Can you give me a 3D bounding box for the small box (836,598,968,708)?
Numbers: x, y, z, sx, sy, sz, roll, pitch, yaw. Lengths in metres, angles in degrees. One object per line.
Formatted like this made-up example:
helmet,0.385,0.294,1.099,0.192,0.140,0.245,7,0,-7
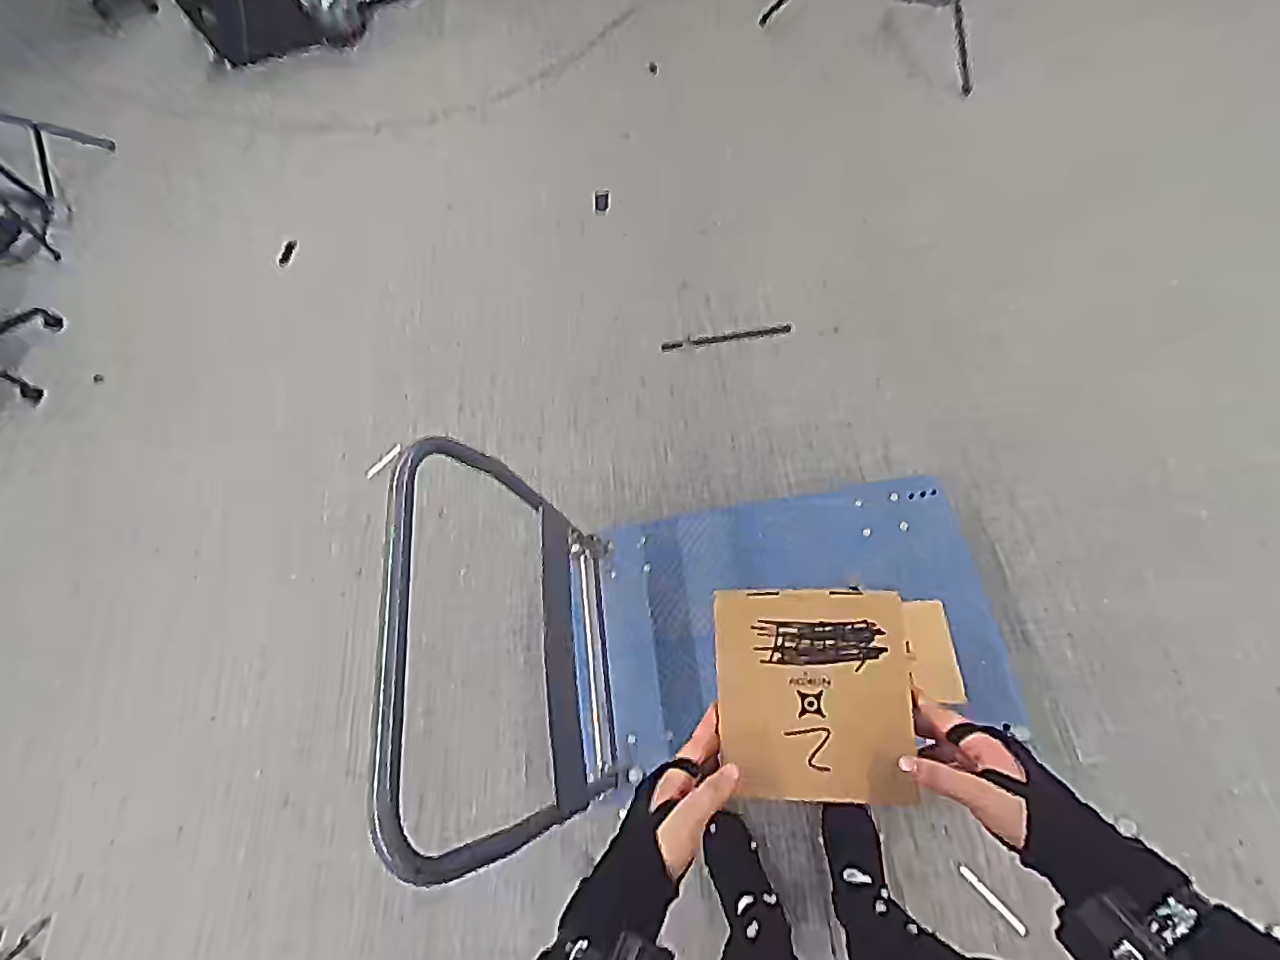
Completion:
small box,0.480,0.332,1.023,0.168,0.176,0.179,-7,66,8
